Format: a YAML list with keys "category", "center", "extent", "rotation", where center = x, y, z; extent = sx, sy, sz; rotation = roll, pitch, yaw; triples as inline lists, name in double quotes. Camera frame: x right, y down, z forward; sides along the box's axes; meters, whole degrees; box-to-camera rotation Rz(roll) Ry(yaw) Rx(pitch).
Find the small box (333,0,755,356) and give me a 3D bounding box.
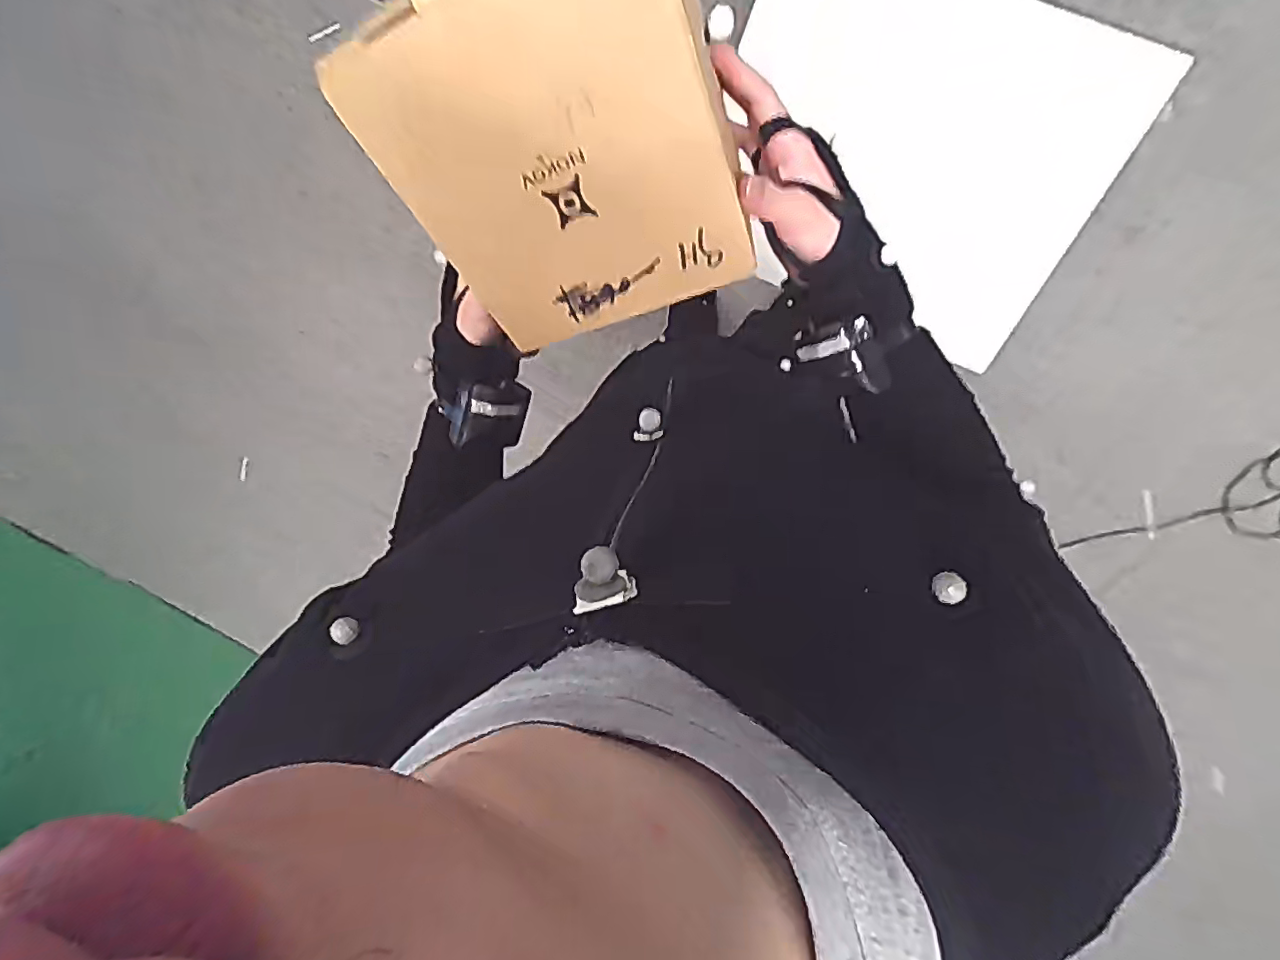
- category: "small box"
  center: [-0.036, -0.215, 0.335]
  extent: [0.168, 0.176, 0.179]
  rotation: [-13, 141, 20]
